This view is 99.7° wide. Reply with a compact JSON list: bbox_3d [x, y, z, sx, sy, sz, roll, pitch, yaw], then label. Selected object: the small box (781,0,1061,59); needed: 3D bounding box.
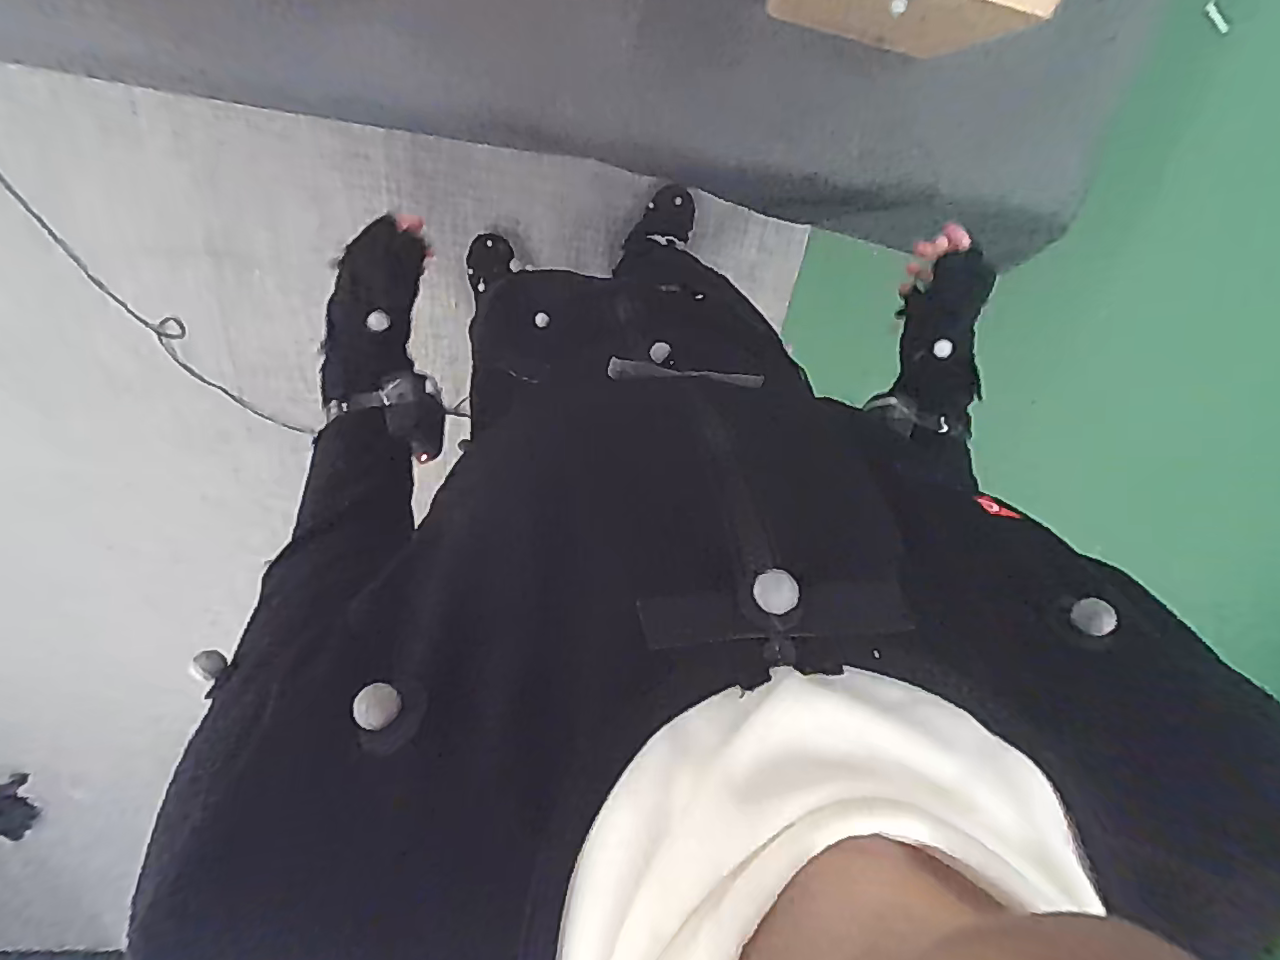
[{"bbox_3d":[0.216,-0.440,0.387,0.168,0.176,0.179,9,119,-7],"label":"small box"}]
